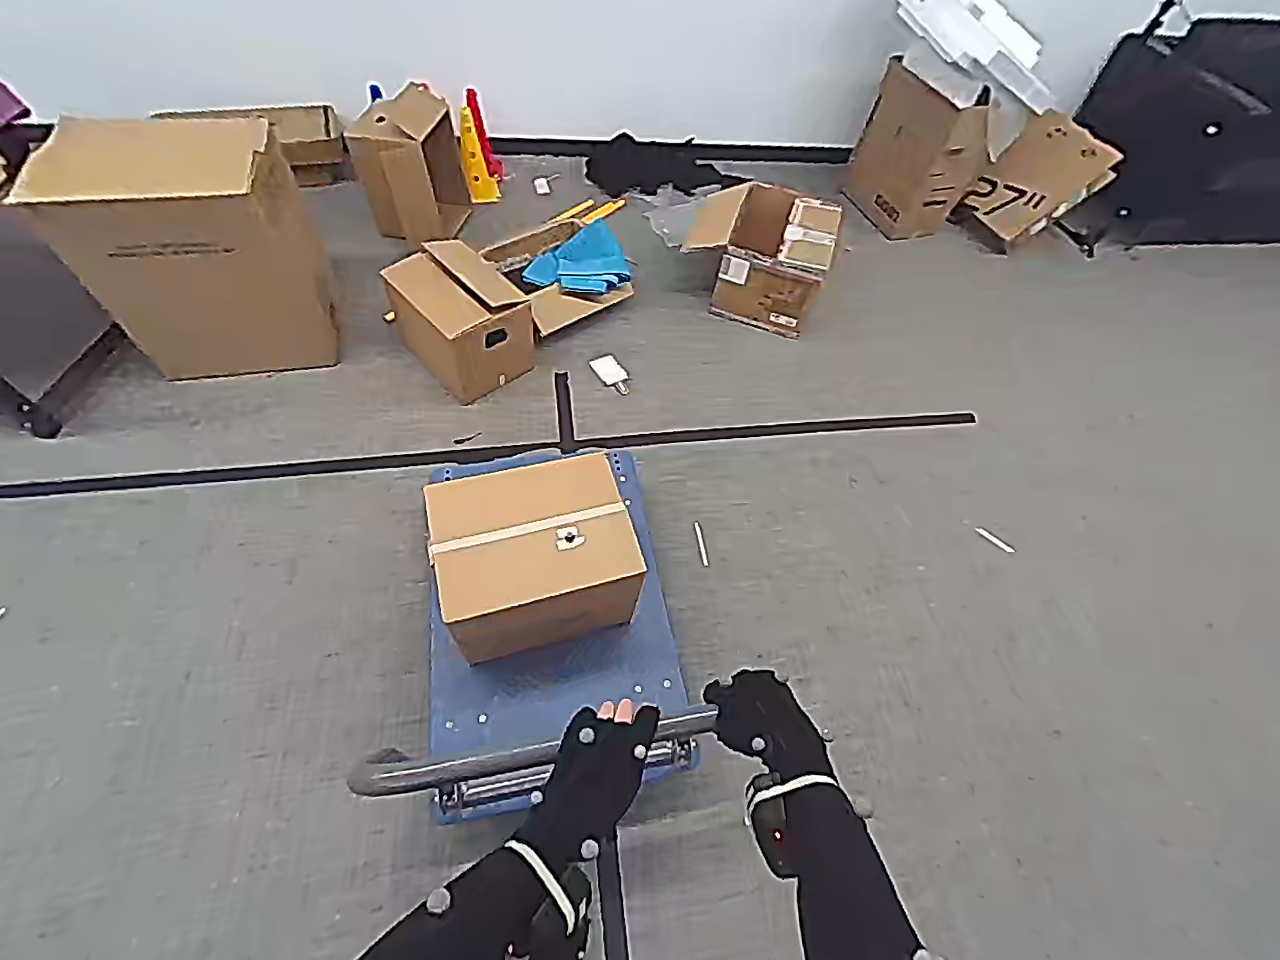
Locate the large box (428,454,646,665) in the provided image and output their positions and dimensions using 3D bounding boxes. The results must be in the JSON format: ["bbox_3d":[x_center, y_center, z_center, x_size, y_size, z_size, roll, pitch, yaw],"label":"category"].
[{"bbox_3d":[-0.238,0.186,1.255,0.408,0.320,0.320,-12,60,-16],"label":"large box"}]
